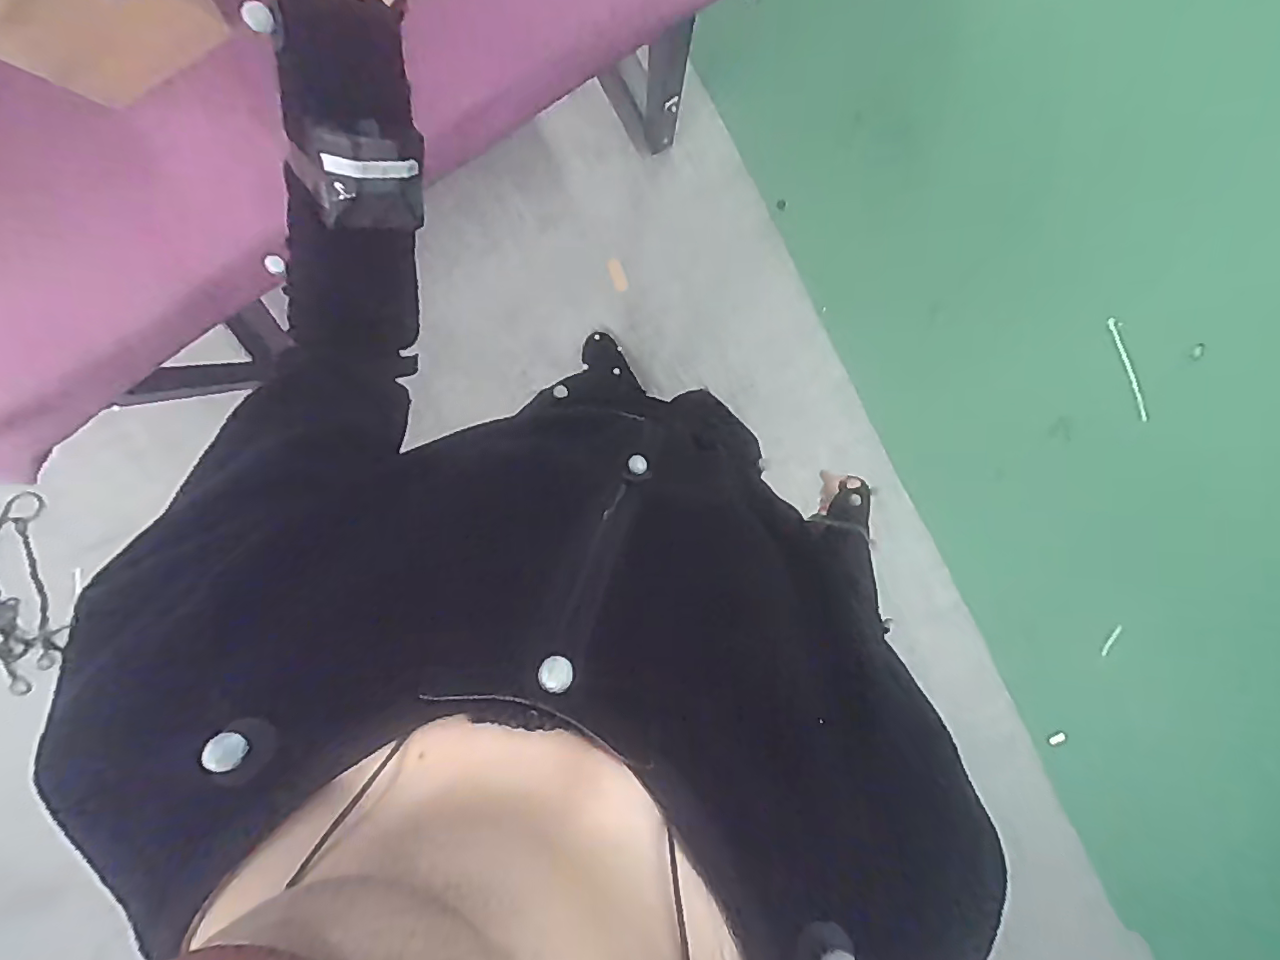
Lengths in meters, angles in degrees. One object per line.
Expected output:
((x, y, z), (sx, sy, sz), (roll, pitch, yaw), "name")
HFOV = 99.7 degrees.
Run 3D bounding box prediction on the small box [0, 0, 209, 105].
((-0.587, -0.528, 0.539), (0.179, 0.176, 0.168), (-28, 102, 7), "small box")
